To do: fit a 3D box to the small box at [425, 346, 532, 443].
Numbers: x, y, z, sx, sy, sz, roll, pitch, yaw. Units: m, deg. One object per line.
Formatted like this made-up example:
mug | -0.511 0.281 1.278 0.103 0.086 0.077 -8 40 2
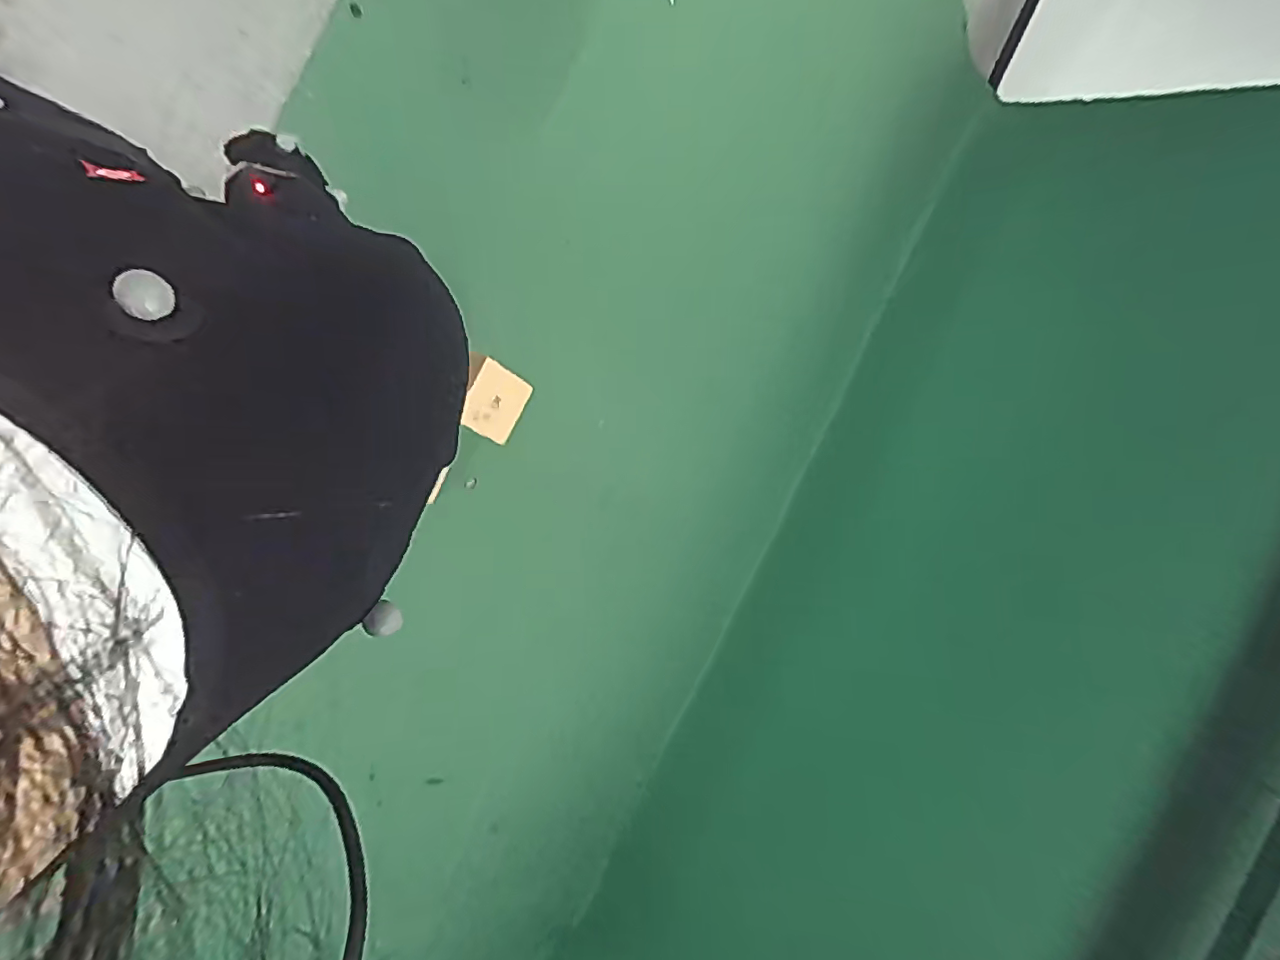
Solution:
small box | -0.422 -0.226 1.401 0.168 0.176 0.179 33 84 -52
